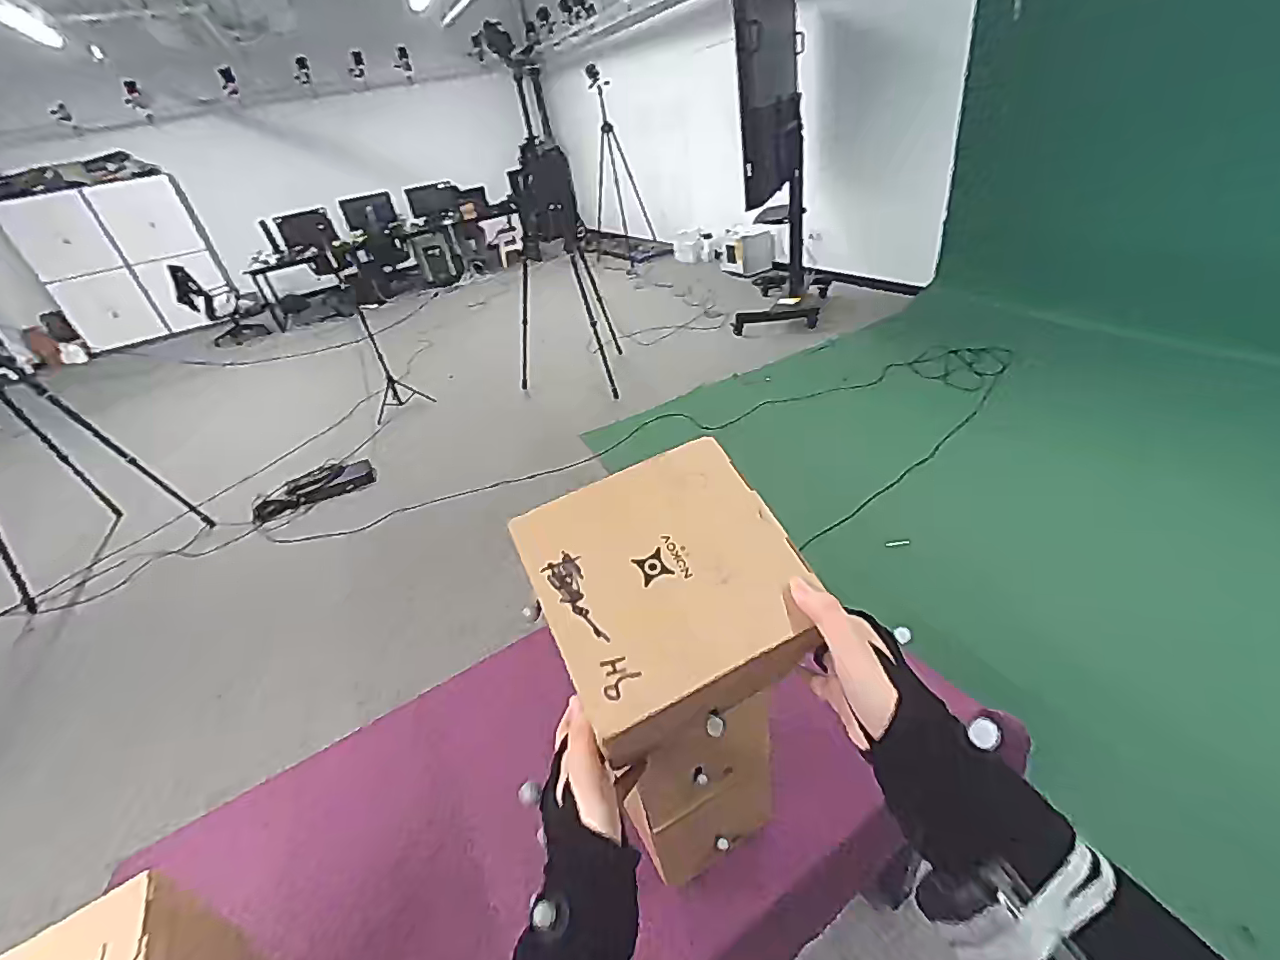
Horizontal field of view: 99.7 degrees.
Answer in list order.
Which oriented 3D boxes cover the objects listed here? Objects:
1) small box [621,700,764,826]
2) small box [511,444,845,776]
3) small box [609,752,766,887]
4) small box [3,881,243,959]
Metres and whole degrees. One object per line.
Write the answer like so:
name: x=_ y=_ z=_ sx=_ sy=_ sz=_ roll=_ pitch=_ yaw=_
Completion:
small box: x=0.029 y=0.259 z=0.645 sx=0.168 sy=0.176 sz=0.179 roll=-24 pitch=37 yaw=-19
small box: x=0.019 y=0.106 z=0.427 sx=0.179 sy=0.176 sz=0.168 roll=-22 pitch=59 yaw=-14
small box: x=0.053 y=0.393 z=0.734 sx=0.168 sy=0.176 sz=0.179 roll=-25 pitch=36 yaw=-18
small box: x=-0.457 y=0.491 z=0.439 sx=0.179 sy=0.176 sz=0.168 roll=-27 pitch=37 yaw=-23
